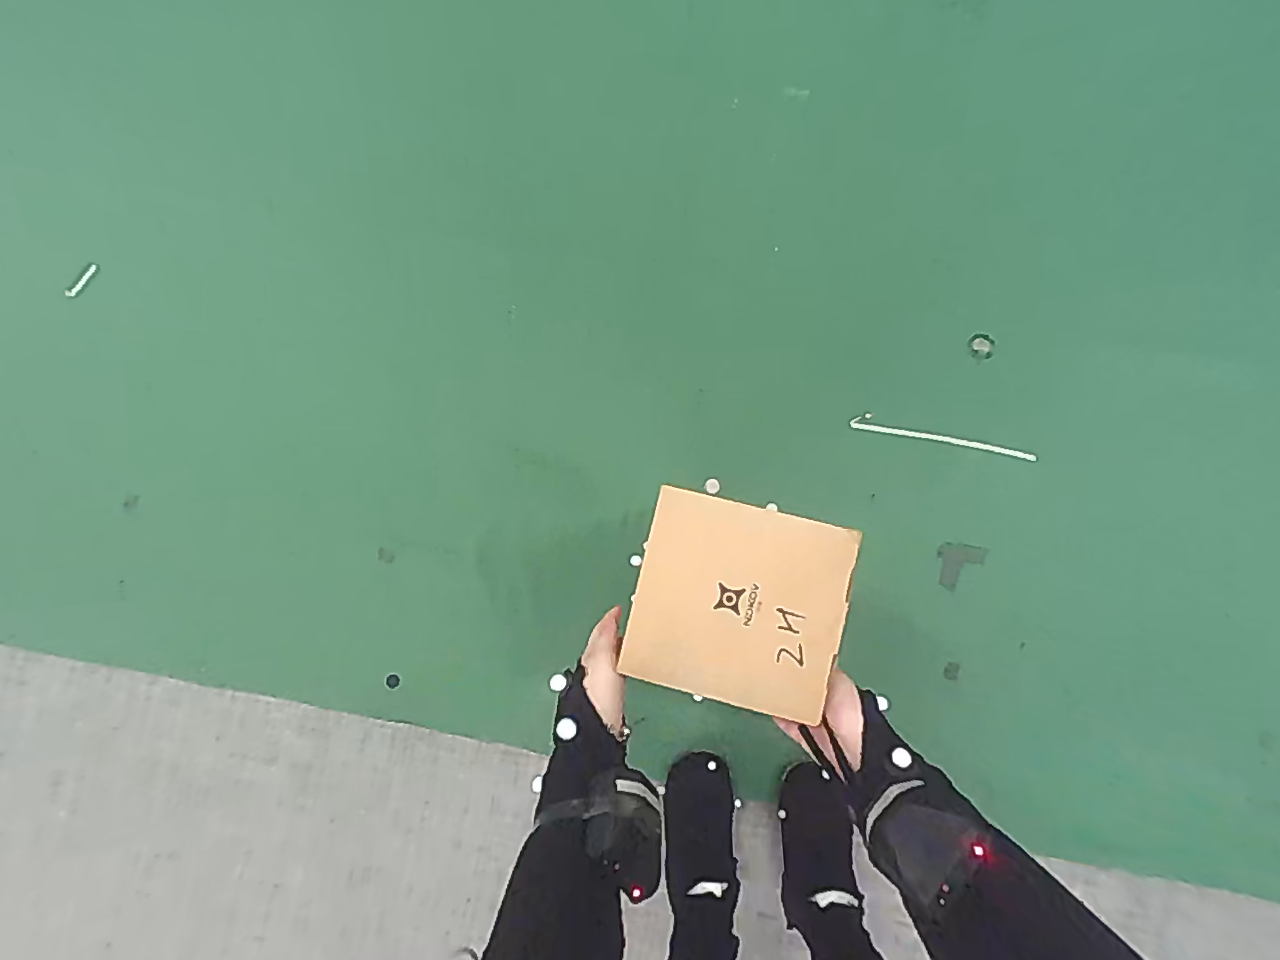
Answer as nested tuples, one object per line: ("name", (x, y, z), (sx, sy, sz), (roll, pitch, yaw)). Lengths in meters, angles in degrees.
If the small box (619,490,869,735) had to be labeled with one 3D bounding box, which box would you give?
("small box", (0.090, 0.114, 0.525), (0.179, 0.176, 0.168), (14, 87, 4))
